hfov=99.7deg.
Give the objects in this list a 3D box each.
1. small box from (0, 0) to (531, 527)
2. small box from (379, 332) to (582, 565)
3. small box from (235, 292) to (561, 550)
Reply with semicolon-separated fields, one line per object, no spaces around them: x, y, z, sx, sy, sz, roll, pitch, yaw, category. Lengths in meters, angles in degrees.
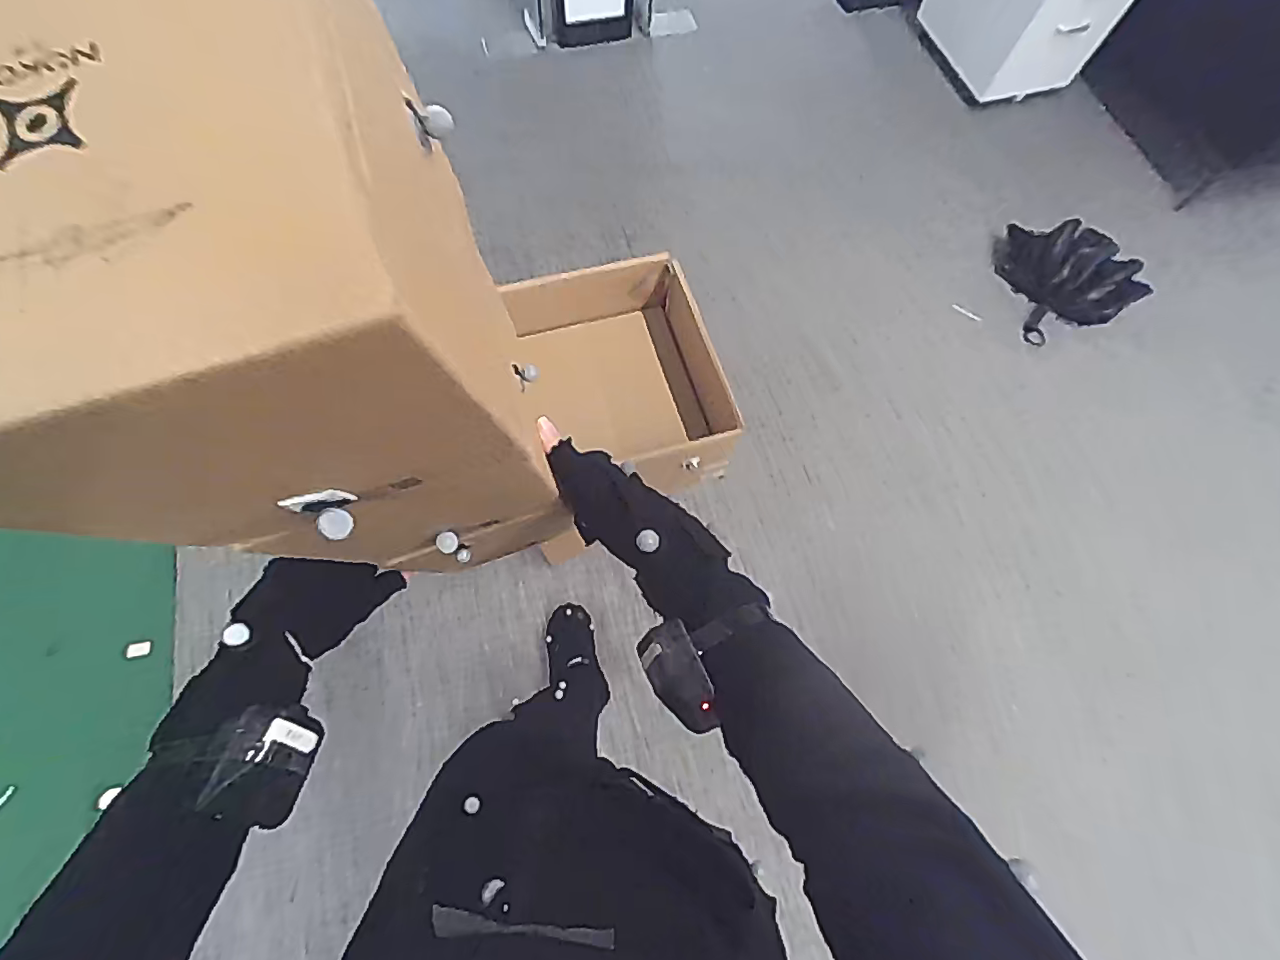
-0.160;-0.089;0.237;0.168;0.176;0.179;-17;81;-2;small box
-0.167;-0.022;0.557;0.168;0.176;0.179;-19;79;-3;small box
-0.167;-0.058;0.395;0.168;0.176;0.179;-18;80;-3;small box
